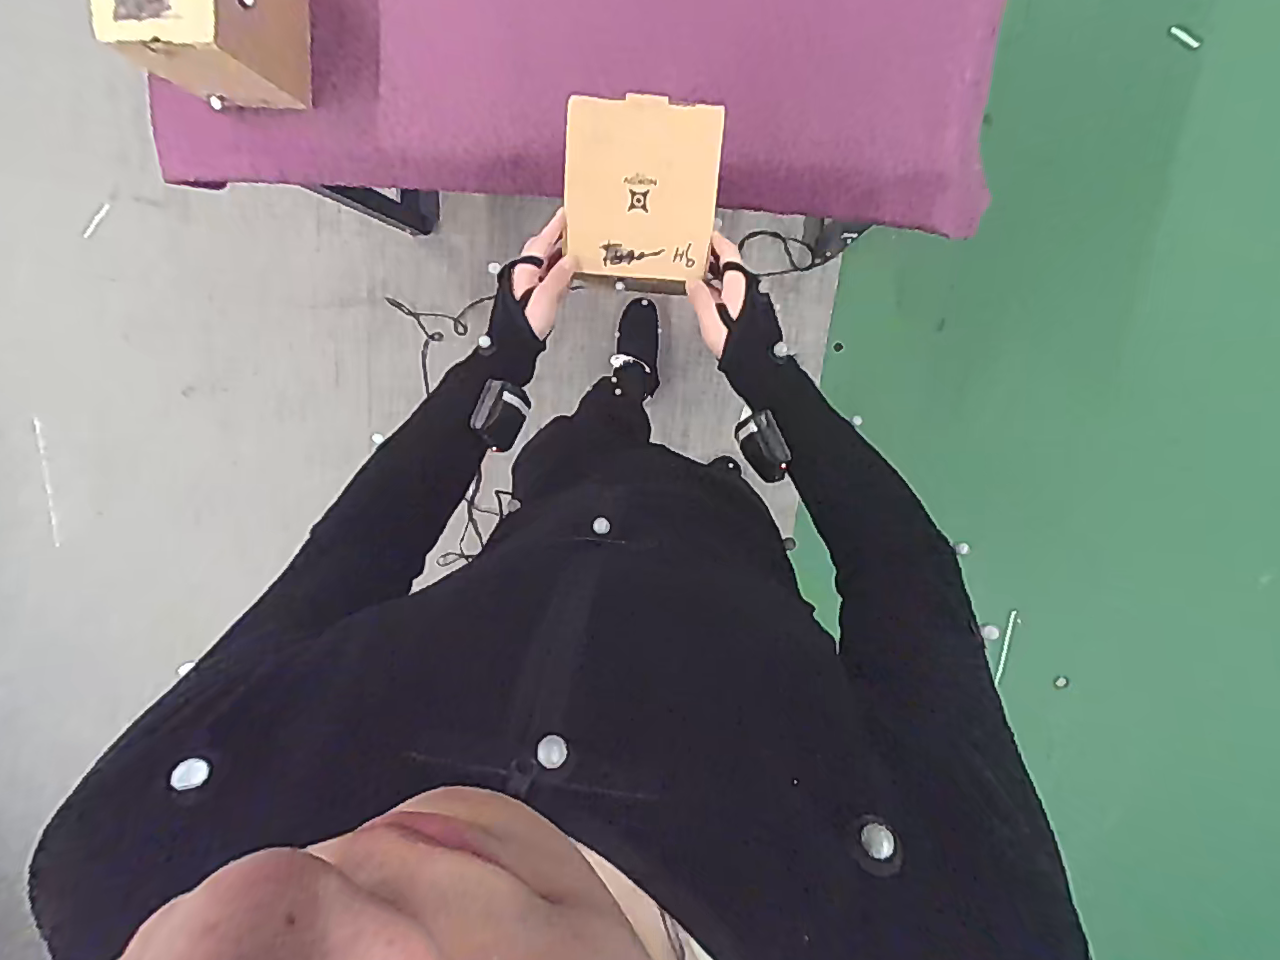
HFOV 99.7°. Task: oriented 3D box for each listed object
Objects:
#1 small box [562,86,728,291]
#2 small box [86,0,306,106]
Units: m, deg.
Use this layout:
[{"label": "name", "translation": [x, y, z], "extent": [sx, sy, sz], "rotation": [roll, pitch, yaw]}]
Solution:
[{"label": "small box", "translation": [0.005, -0.335, 0.654], "extent": [0.168, 0.176, 0.179], "rotation": [5, 105, 1]}, {"label": "small box", "translation": [-0.570, -0.627, 0.711], "extent": [0.168, 0.176, 0.179], "rotation": [6, 102, 4]}]
